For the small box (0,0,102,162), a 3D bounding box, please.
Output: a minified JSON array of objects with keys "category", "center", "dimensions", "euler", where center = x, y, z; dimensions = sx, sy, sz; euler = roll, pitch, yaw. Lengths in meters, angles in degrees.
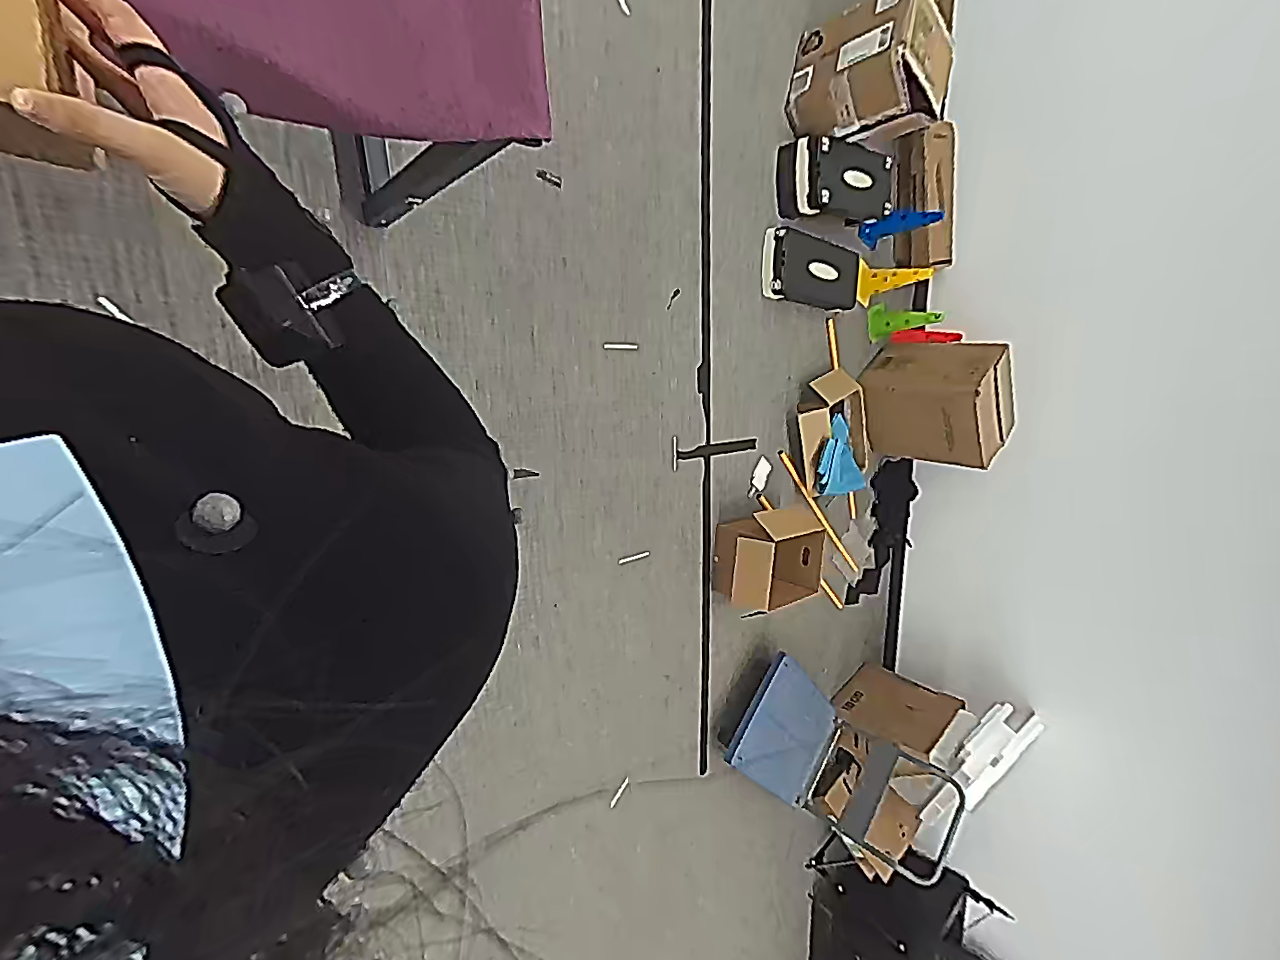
[{"category":"small box","center":[-0.417,-0.295,0.284],"dimensions":[0.168,0.176,0.179],"euler":[-5,106,-38]}]
